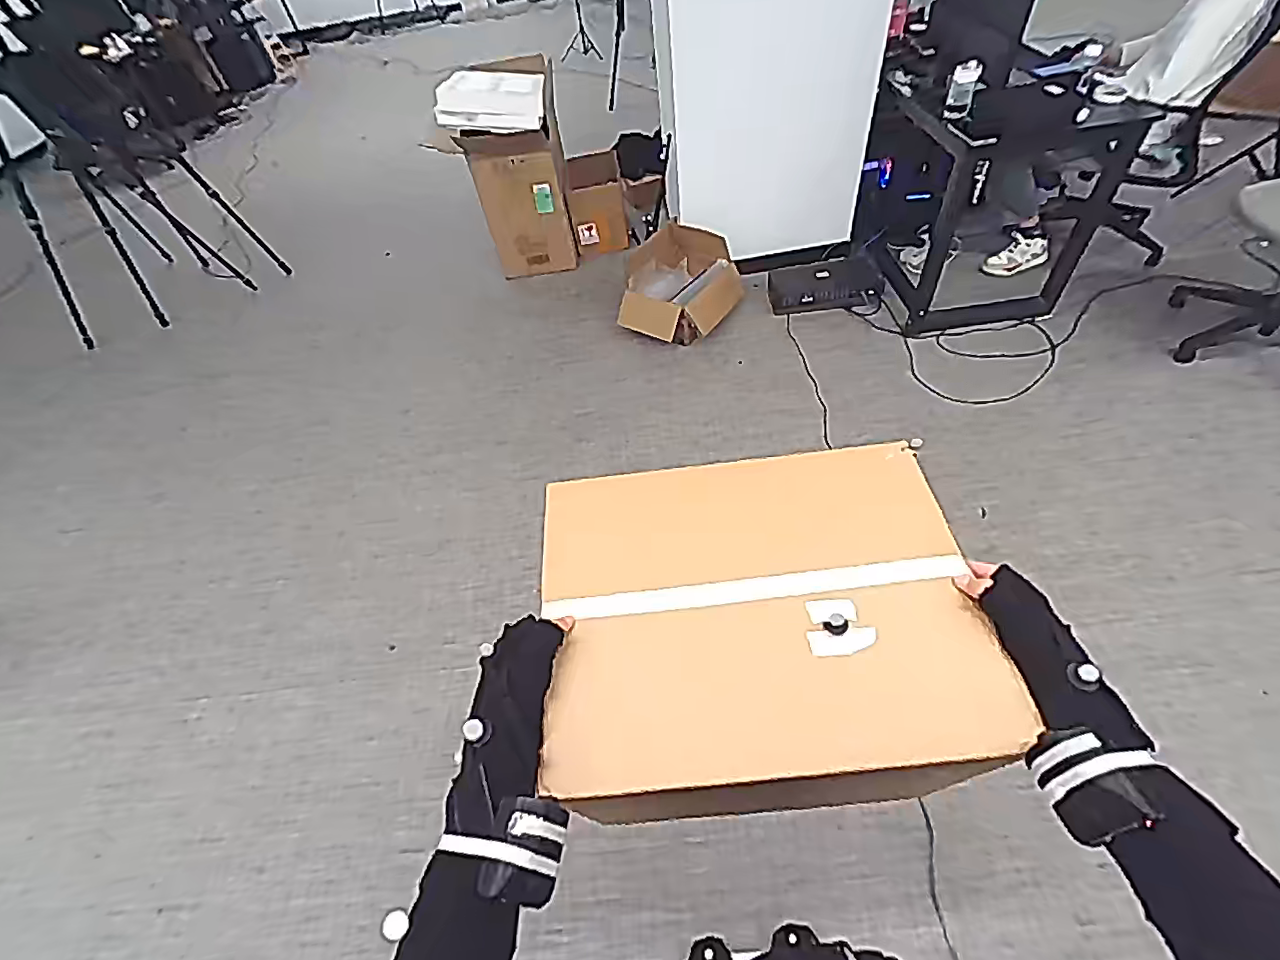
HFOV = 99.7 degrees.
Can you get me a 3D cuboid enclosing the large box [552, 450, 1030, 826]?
[{"bbox_3d":[0.123,0.201,0.649,0.408,0.320,0.320,-7,53,2],"label":"large box"}]
